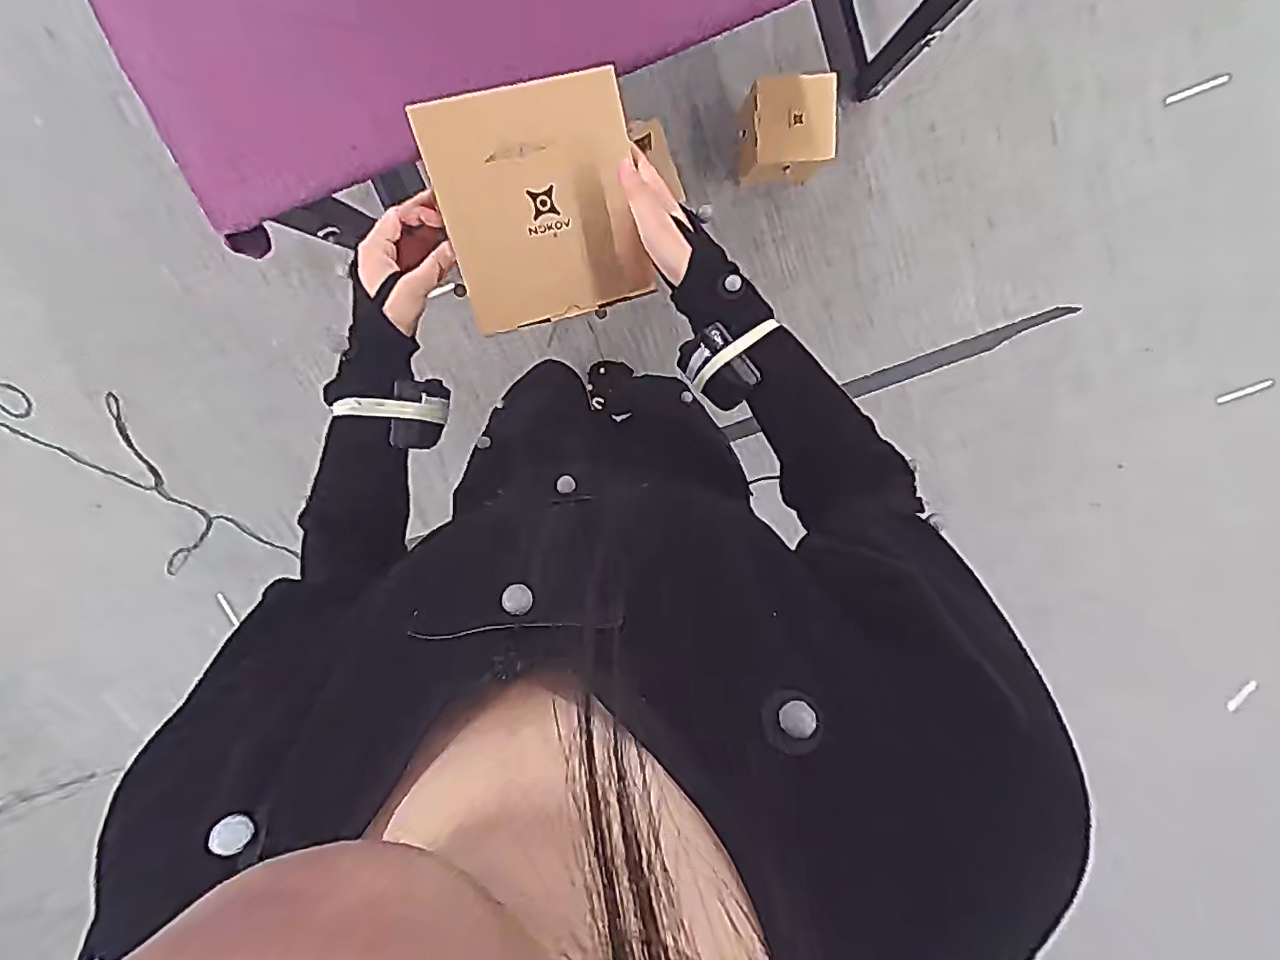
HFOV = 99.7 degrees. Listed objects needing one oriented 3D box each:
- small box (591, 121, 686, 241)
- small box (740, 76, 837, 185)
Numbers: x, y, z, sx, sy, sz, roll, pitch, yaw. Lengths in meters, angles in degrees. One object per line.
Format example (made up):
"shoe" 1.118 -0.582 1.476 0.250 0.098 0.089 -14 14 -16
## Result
"small box" -0.007 -0.678 1.249 0.168 0.176 0.179 -21 104 3
"small box" 0.332 -0.789 1.236 0.179 0.176 0.168 -4 104 0
